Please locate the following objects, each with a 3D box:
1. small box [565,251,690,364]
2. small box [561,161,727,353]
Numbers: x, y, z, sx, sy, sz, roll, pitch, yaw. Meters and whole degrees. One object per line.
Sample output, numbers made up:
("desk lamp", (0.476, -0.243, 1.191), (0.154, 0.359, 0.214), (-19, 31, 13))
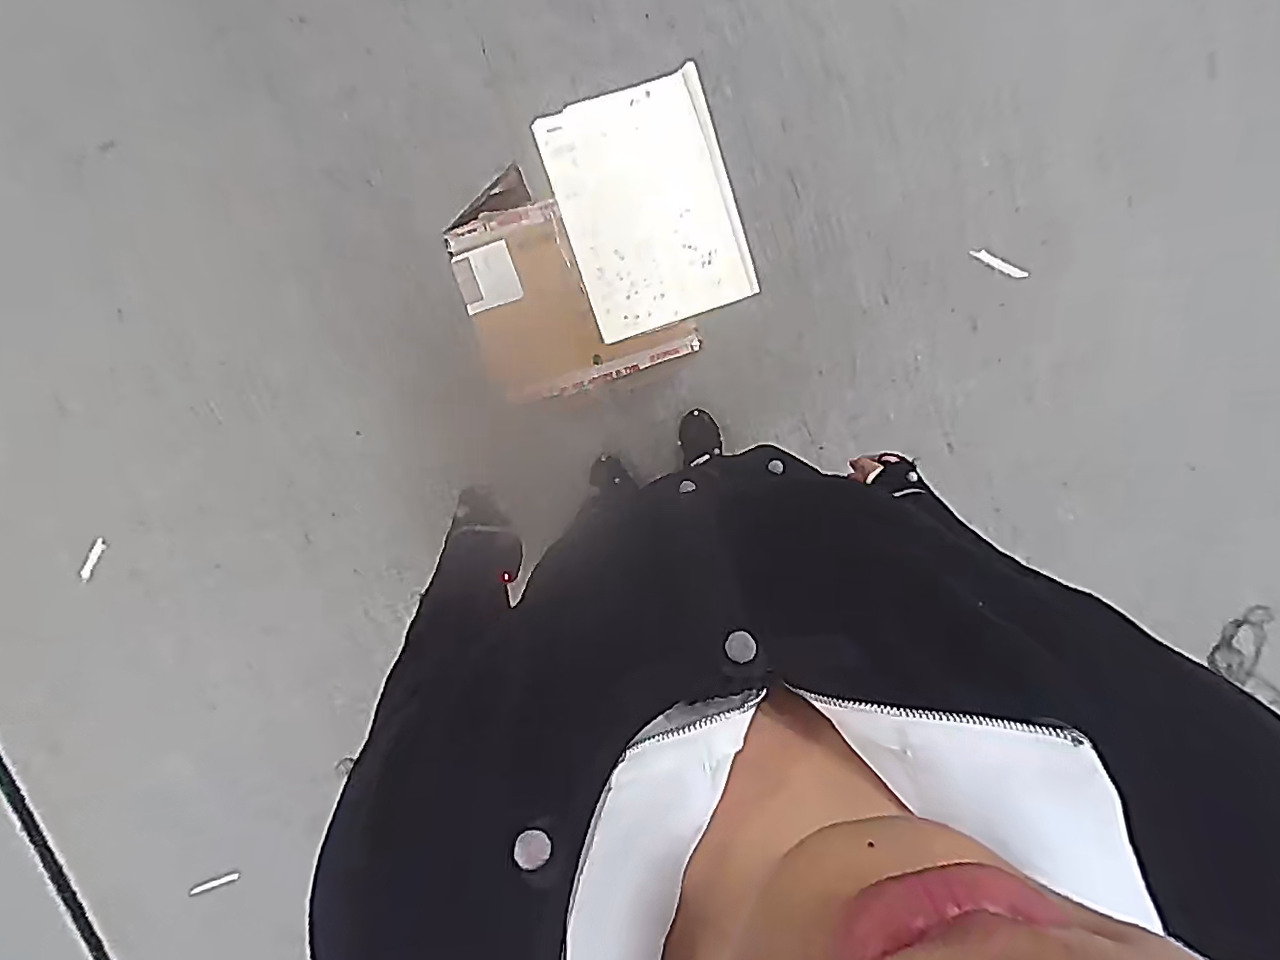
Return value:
("small box", (-0.011, -0.305, 0.901), (0.179, 0.176, 0.168), (-22, 97, 0))
("small box", (0.000, -0.288, 0.738), (0.168, 0.176, 0.179), (-19, 98, -1))
